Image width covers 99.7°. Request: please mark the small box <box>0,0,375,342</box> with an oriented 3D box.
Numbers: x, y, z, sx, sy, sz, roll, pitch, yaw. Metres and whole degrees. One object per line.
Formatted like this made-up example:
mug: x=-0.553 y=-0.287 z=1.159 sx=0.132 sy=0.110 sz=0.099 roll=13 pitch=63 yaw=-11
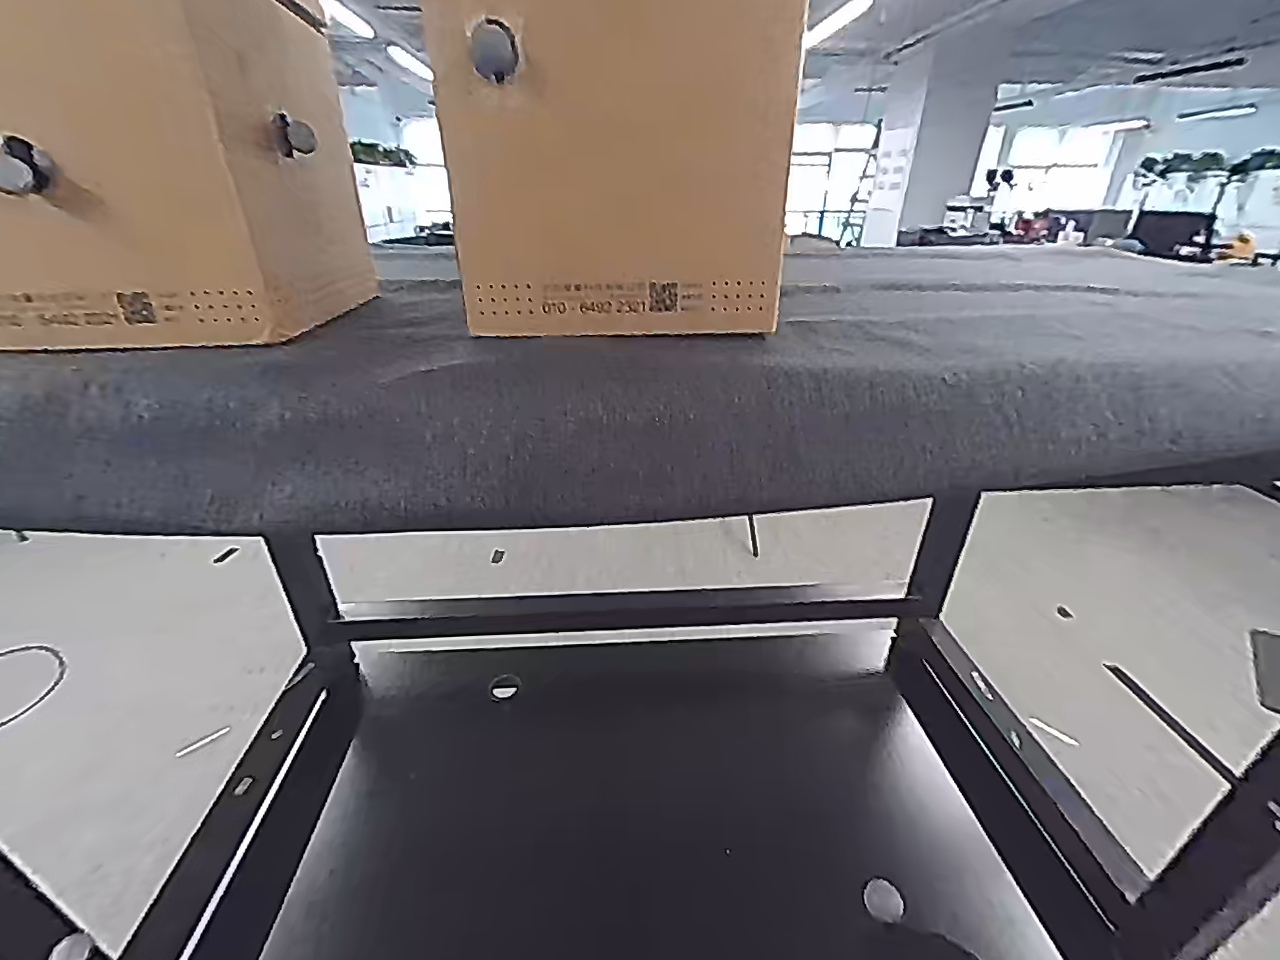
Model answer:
small box: x=-0.269 y=-0.177 z=0.303 sx=0.168 sy=0.176 sz=0.179 roll=-3 pitch=27 yaw=-8
